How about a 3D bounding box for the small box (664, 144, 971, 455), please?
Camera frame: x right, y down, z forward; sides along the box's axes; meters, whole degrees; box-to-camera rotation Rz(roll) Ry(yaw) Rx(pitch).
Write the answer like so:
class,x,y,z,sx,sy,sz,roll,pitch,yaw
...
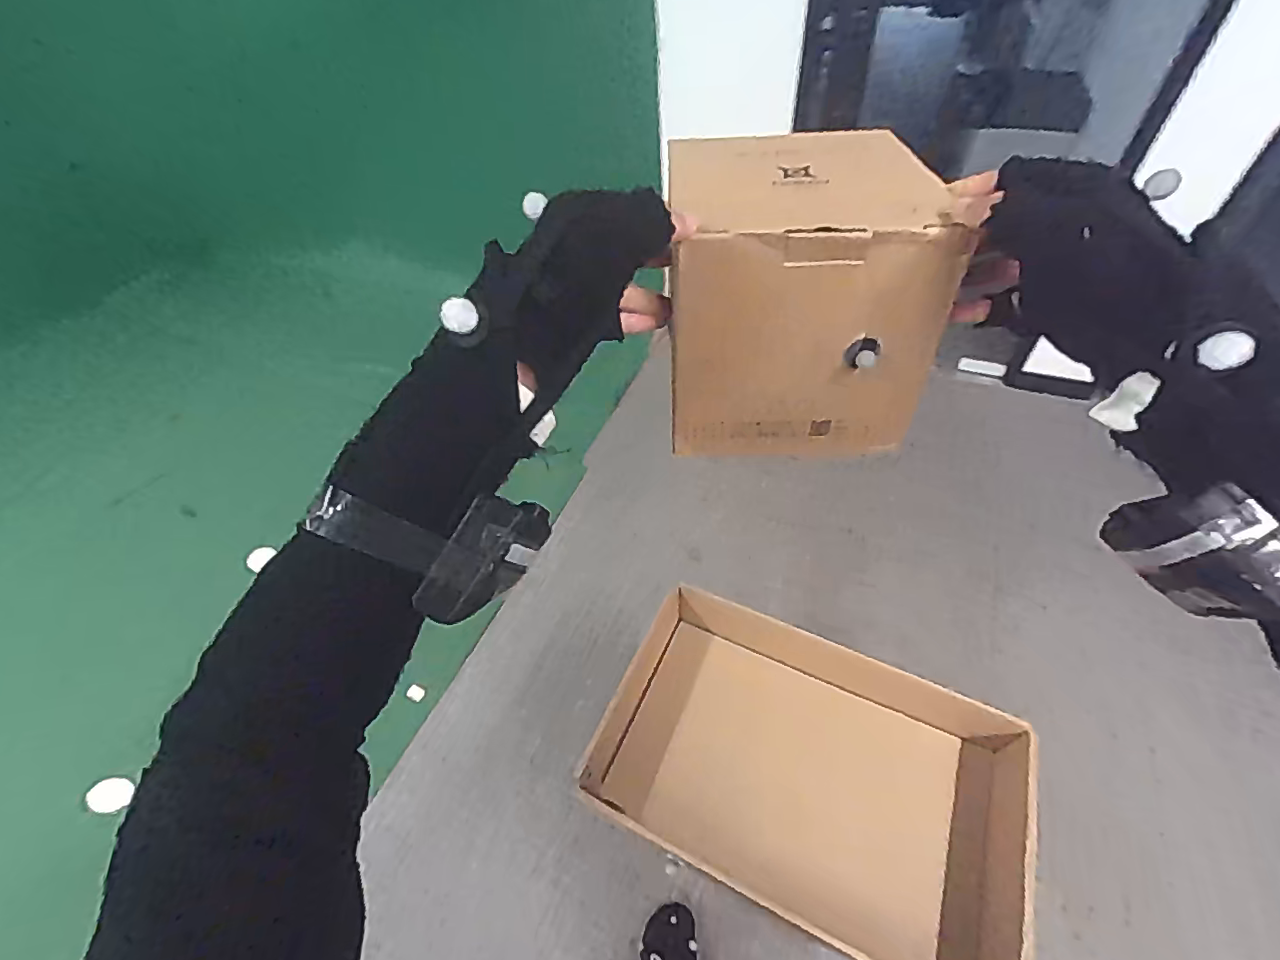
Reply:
class,x,y,z,sx,sy,sz,roll,pitch,yaw
small box,0.103,-0.131,0.408,0.168,0.176,0.179,-1,45,1
